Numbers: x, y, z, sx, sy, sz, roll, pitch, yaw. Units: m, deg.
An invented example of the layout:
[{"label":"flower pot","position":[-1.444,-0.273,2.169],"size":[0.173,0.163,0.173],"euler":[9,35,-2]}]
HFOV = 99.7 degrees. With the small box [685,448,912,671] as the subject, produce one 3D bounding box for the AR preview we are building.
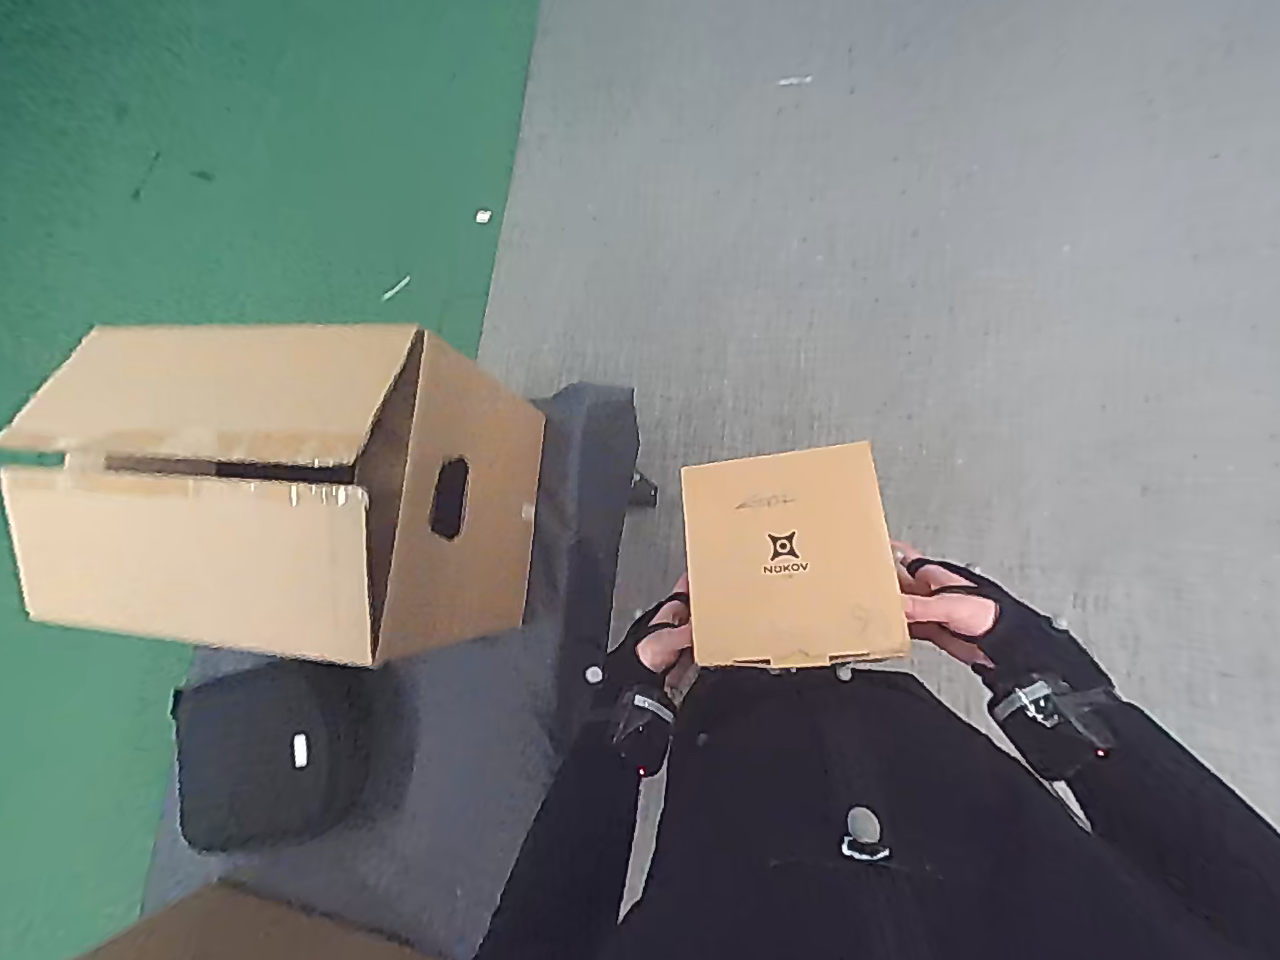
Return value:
[{"label":"small box","position":[0.146,0.090,0.526],"size":[0.168,0.176,0.179],"euler":[-9,67,13]}]
